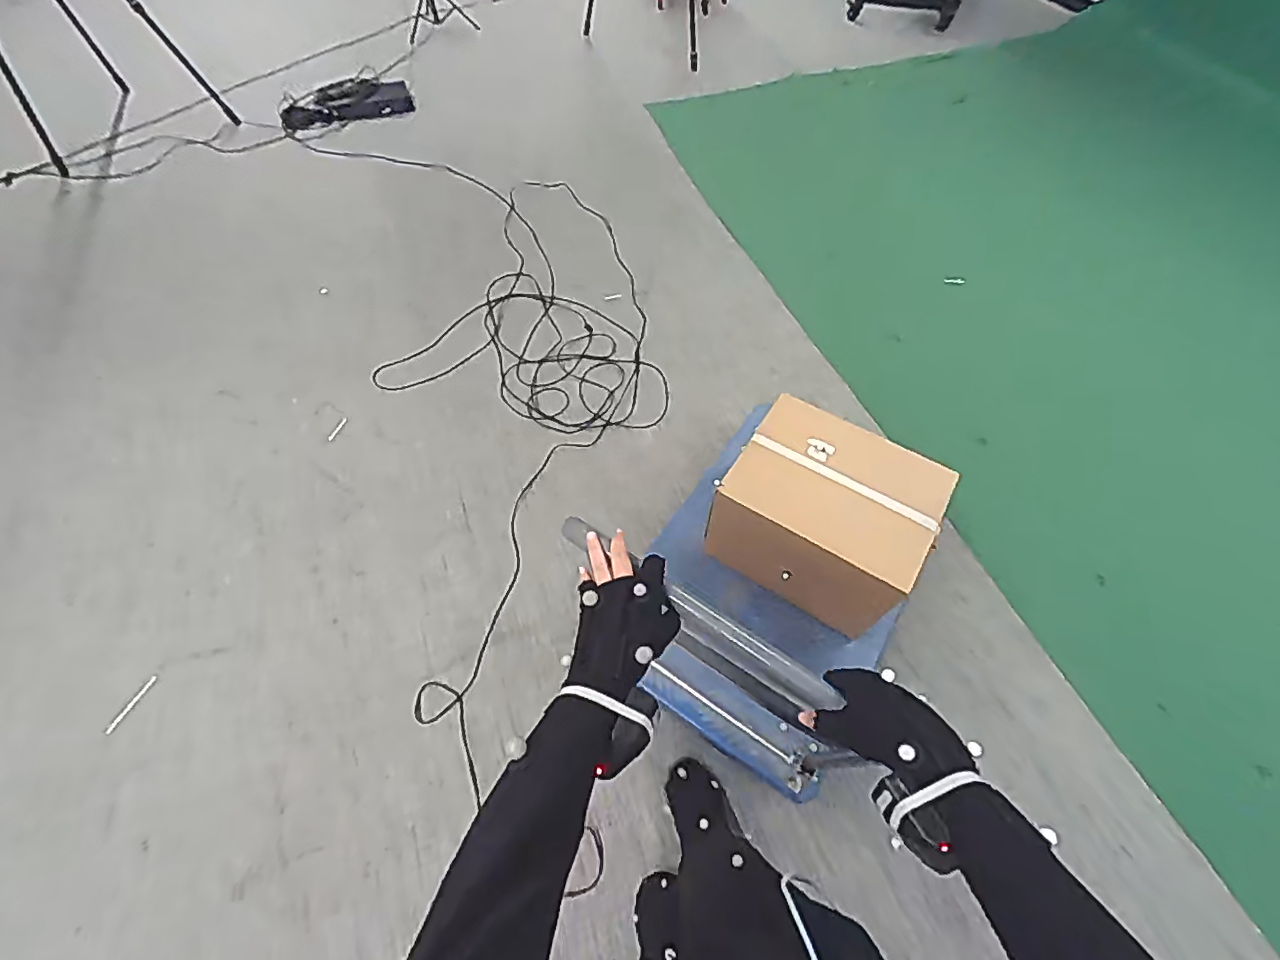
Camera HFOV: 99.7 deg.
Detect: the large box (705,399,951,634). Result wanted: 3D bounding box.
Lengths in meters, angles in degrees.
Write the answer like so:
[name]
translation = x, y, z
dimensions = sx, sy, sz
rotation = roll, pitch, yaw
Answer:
[large box]
translation = 0.406, 0.088, 1.243
dimensions = 0.408, 0.320, 0.320
rotation = 29, 62, 18
